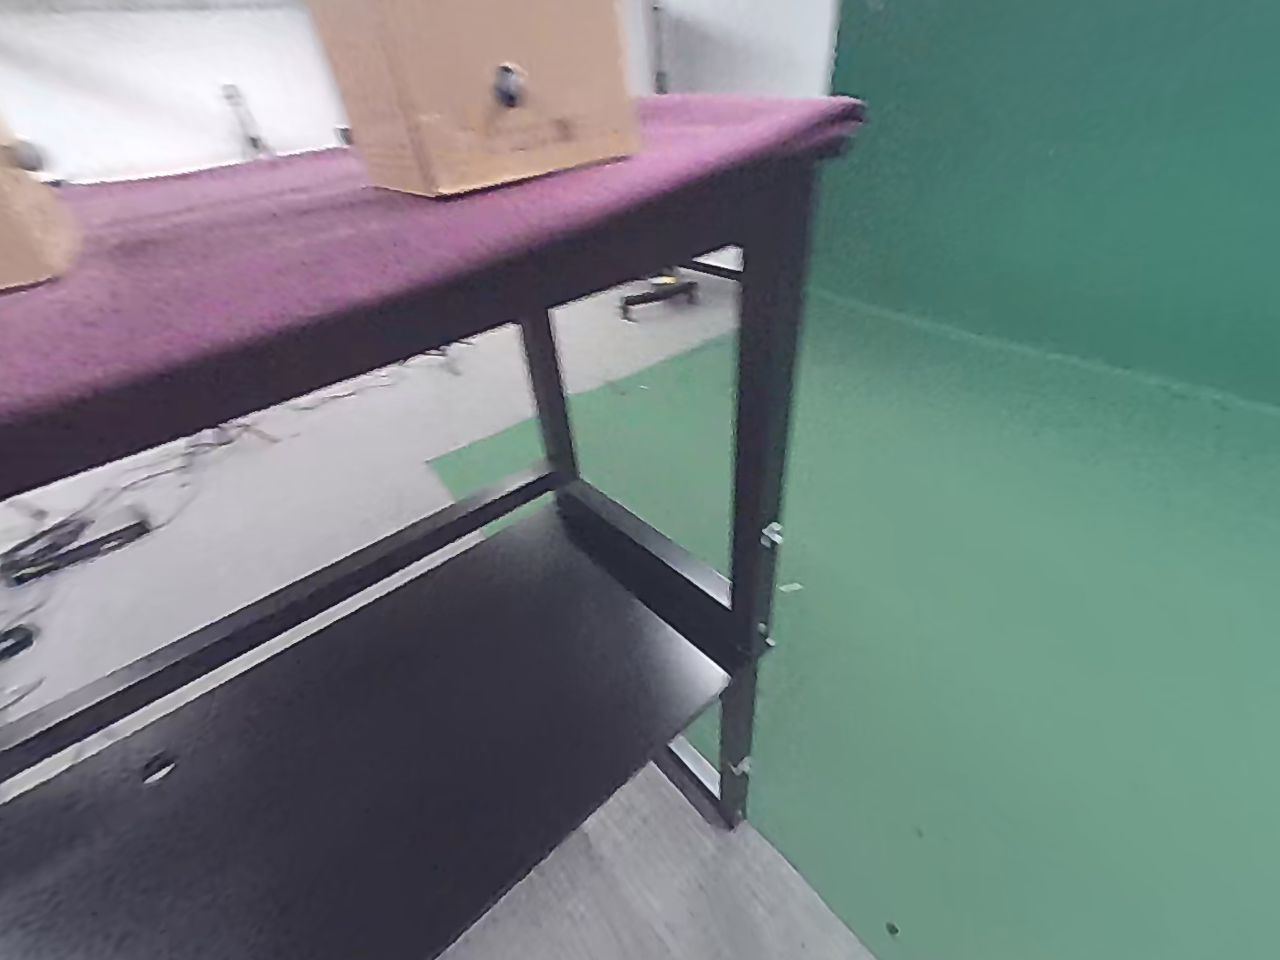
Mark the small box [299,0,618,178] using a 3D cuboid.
[{"bbox_3d":[-0.136,-0.326,0.391,0.168,0.176,0.179,-30,42,-25],"label":"small box"}]
